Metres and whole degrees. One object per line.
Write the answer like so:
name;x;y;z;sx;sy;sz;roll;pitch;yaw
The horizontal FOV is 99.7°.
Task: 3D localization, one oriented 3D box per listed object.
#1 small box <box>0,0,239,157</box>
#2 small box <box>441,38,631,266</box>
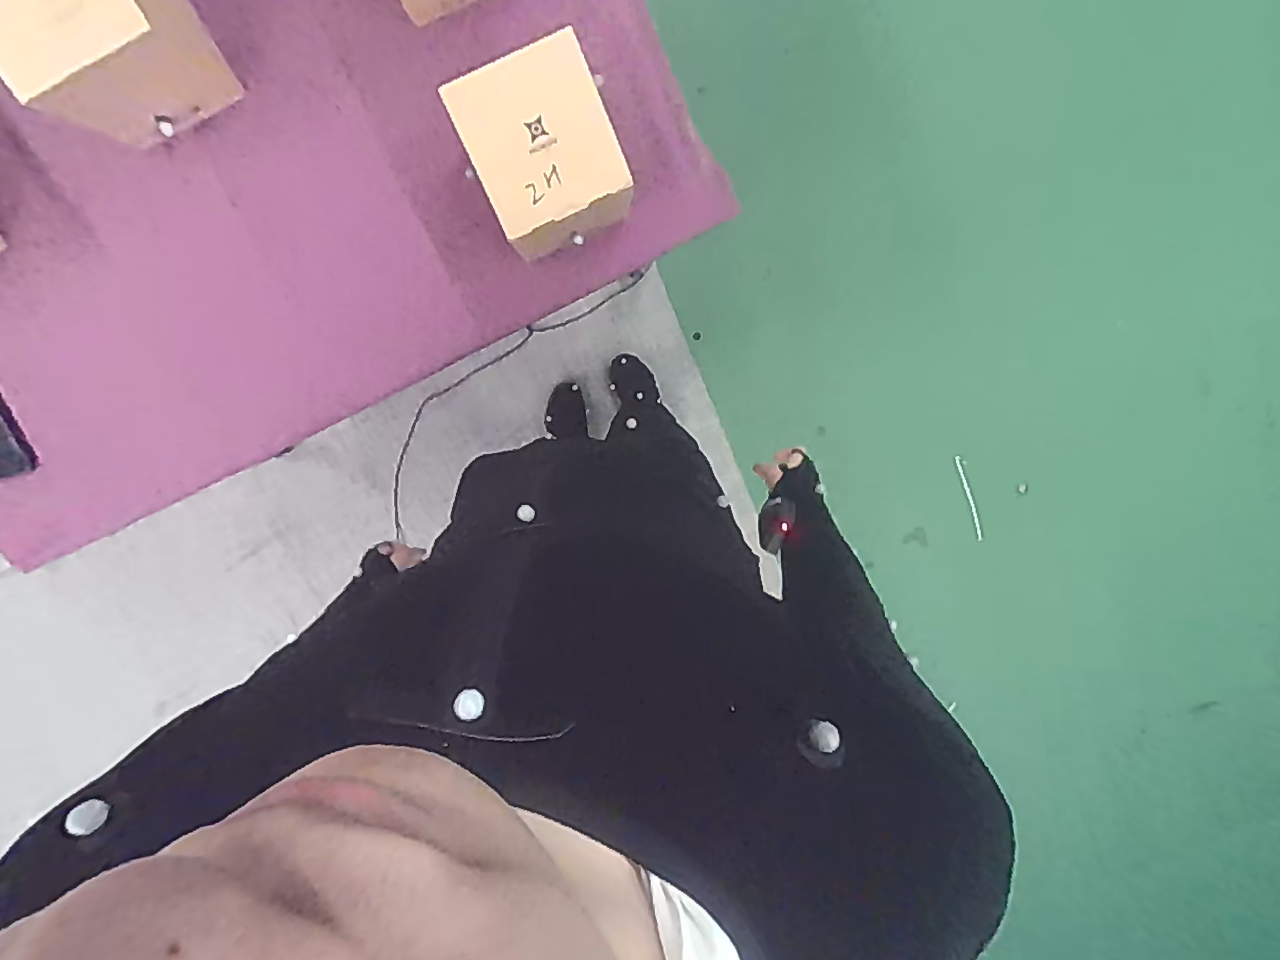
small box;-0.629;-0.519;0.624;0.168;0.176;0.179;-27;105;1
small box;-0.124;-0.402;0.698;0.168;0.176;0.179;-24;104;1
